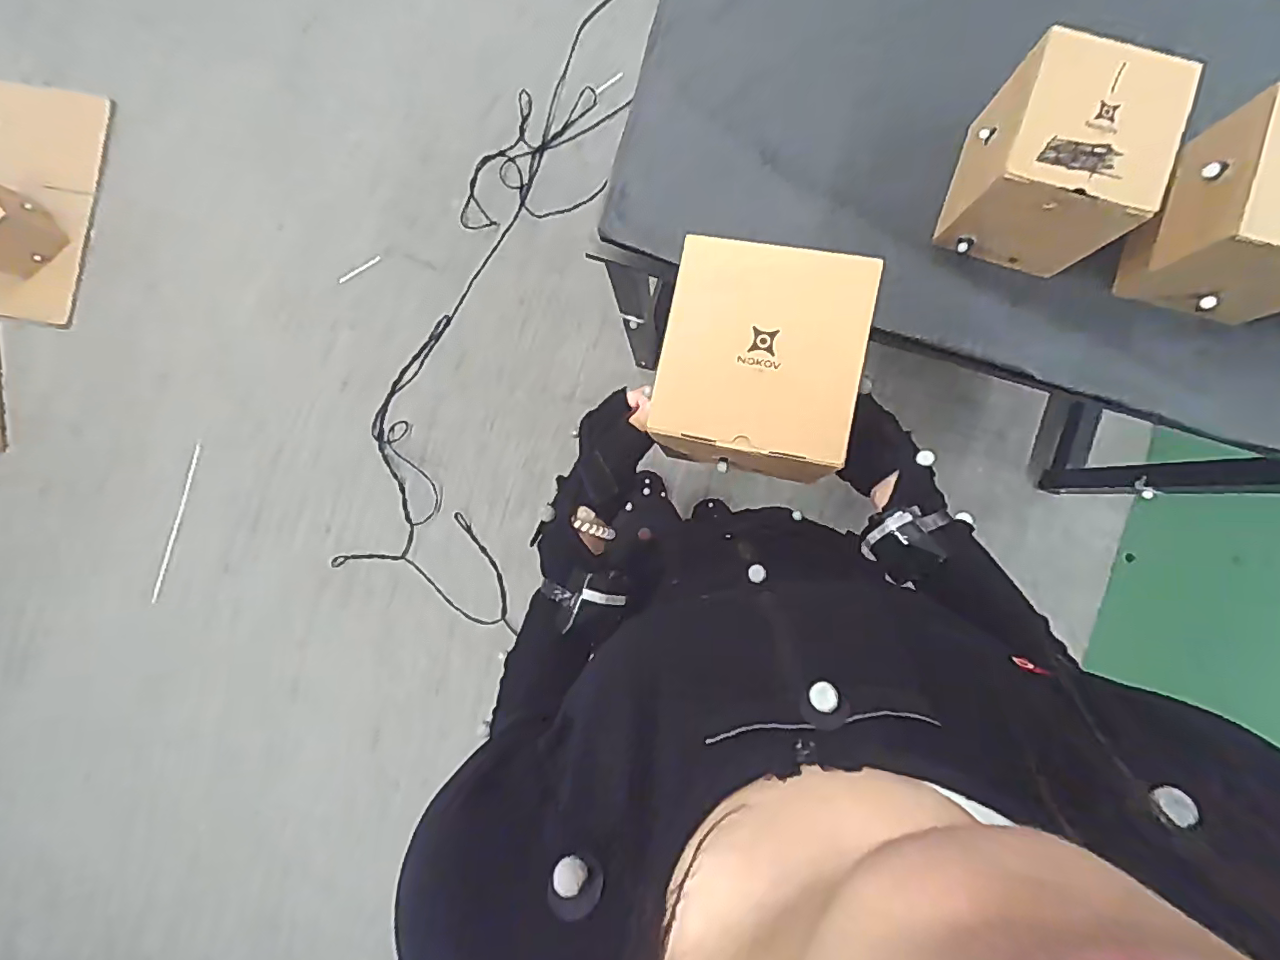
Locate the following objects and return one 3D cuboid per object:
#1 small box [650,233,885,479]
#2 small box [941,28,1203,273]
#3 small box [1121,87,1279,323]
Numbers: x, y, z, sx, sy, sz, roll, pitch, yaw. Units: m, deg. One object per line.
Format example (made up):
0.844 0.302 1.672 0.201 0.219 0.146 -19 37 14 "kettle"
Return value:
0.113 -0.105 0.524 0.168 0.176 0.179 11 88 8 "small box"
0.504 -0.383 0.662 0.168 0.176 0.179 18 88 4 "small box"
0.735 -0.313 0.645 0.168 0.176 0.179 17 89 4 "small box"
